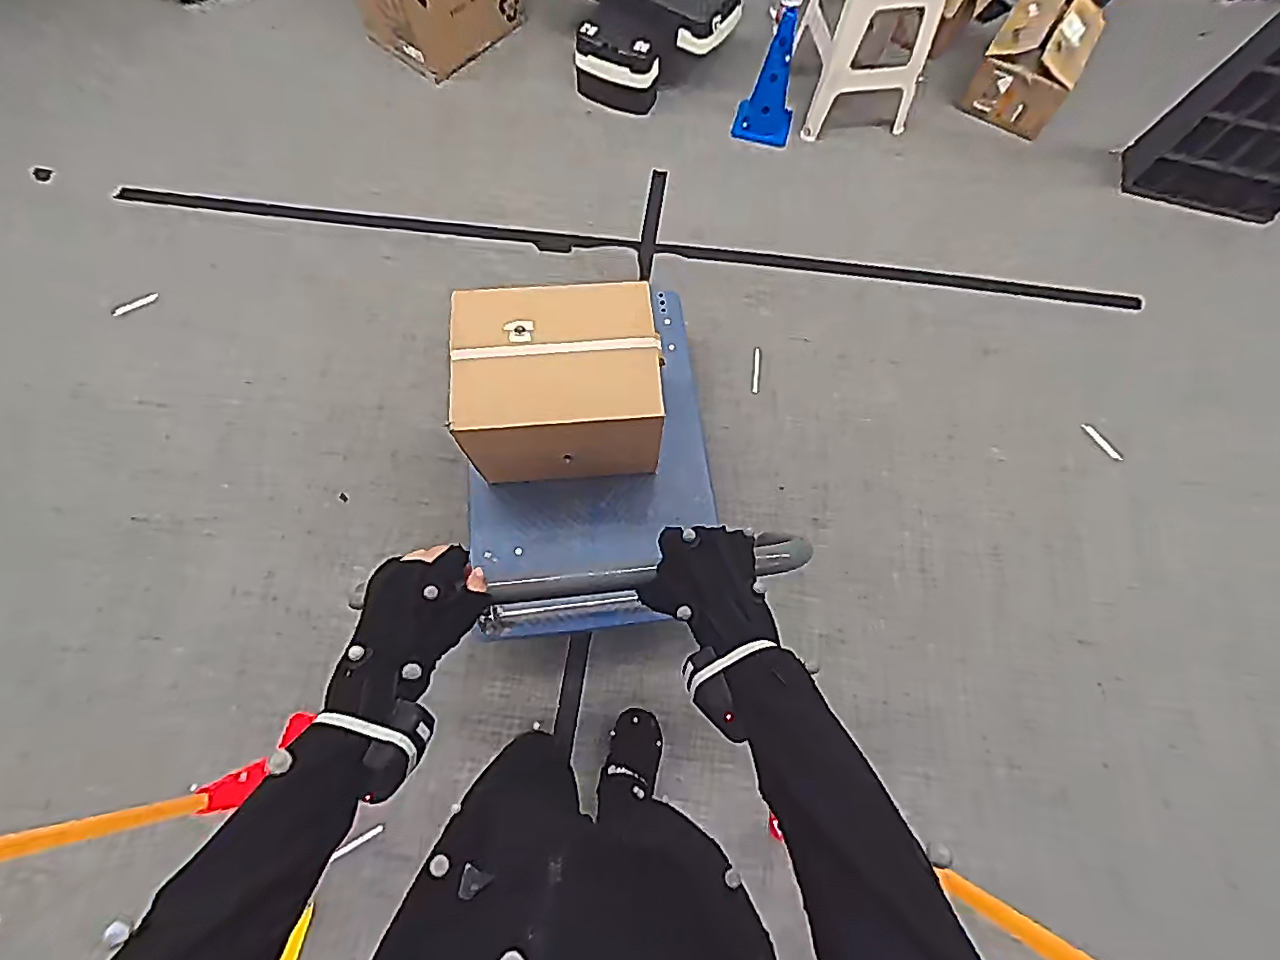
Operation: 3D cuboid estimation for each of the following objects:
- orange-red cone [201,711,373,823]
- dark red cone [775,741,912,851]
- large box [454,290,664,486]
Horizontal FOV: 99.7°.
[{"bbox_3d":[-0.725,0.588,1.068,0.198,0.360,0.199,15,69,3],"label":"orange-red cone"},{"bbox_3d":[0.408,0.644,1.050,0.201,0.394,0.202,8,70,0],"label":"dark red cone"},{"bbox_3d":[-0.167,-0.188,1.210,0.408,0.320,0.320,-5,71,-2],"label":"large box"}]
